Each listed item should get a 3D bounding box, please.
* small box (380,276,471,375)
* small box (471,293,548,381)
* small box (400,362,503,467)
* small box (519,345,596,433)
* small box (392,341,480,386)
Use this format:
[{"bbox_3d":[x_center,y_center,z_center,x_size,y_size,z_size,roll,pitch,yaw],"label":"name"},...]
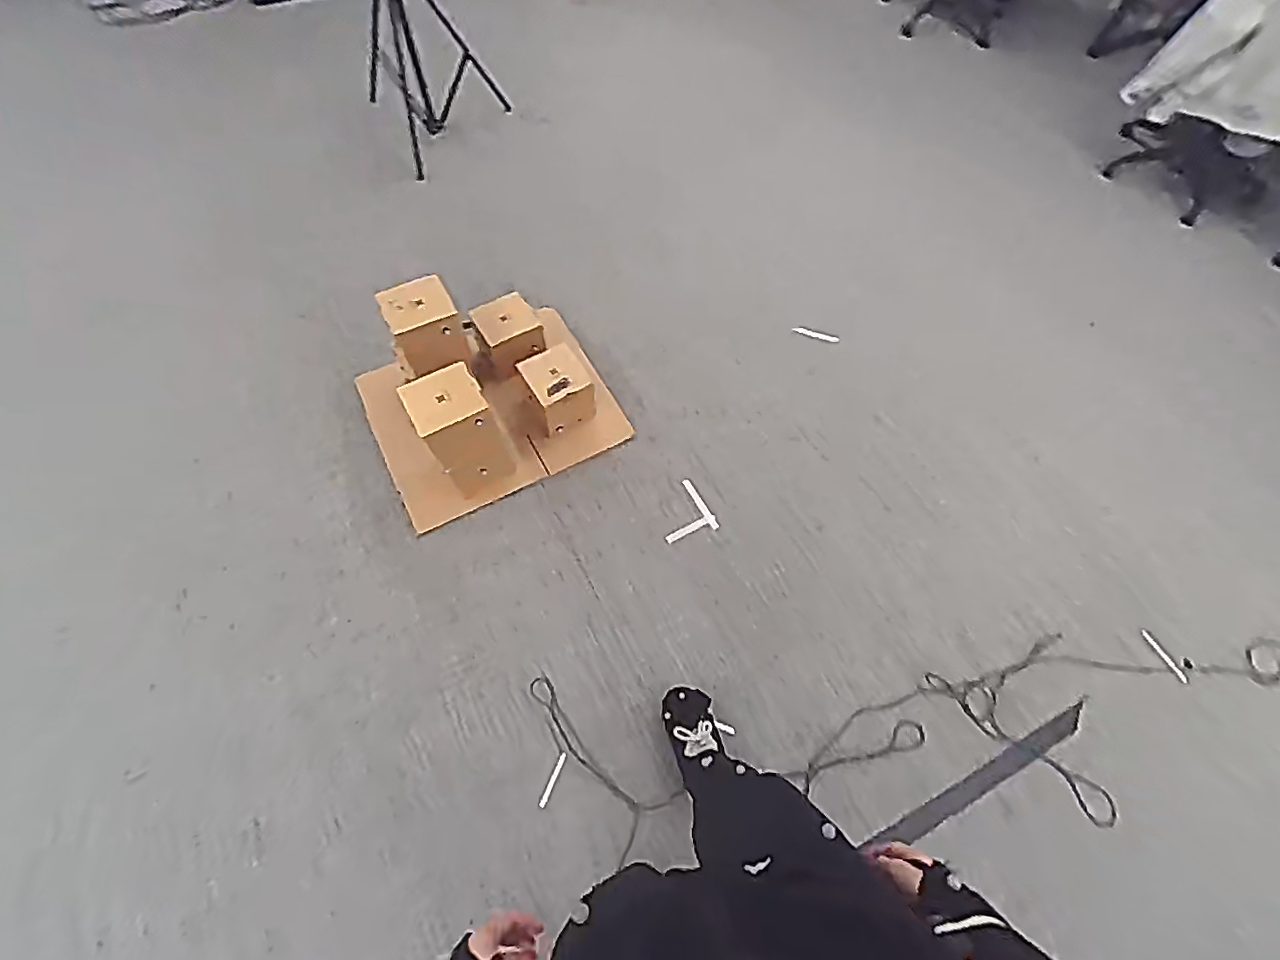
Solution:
[{"bbox_3d":[-0.585,-0.425,1.501,0.179,0.176,0.168,-26,66,-15],"label":"small box"},{"bbox_3d":[-0.403,-0.448,1.710,0.179,0.176,0.168,-30,67,-16],"label":"small box"},{"bbox_3d":[-0.471,-0.159,1.373,0.179,0.176,0.168,-28,68,-15],"label":"small box"},{"bbox_3d":[-0.241,-0.264,1.620,0.168,0.176,0.179,-29,68,-16],"label":"small box"},{"bbox_3d":[-0.613,-0.340,1.642,0.179,0.176,0.168,-30,68,-15],"label":"small box"}]
